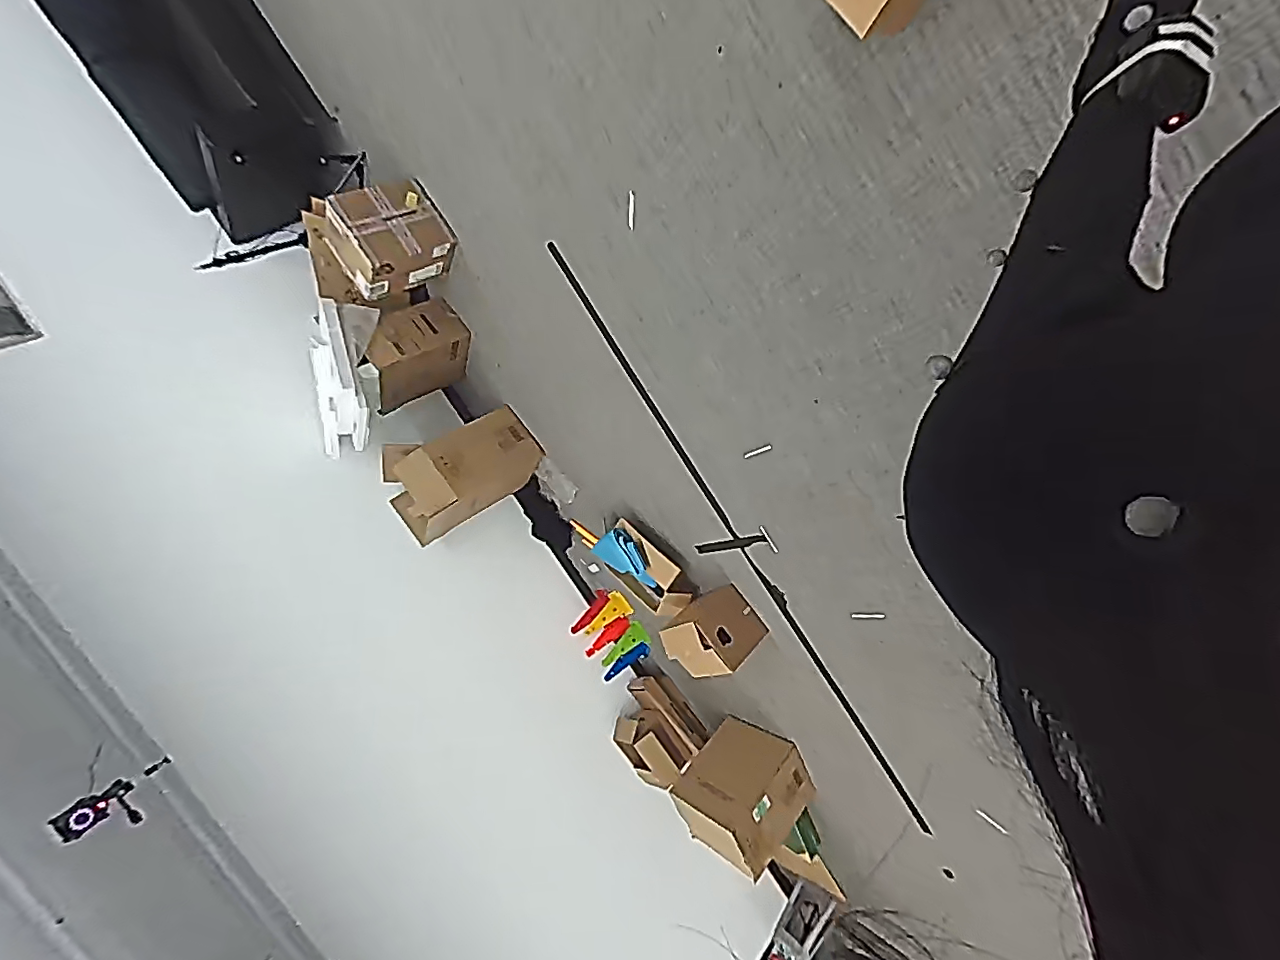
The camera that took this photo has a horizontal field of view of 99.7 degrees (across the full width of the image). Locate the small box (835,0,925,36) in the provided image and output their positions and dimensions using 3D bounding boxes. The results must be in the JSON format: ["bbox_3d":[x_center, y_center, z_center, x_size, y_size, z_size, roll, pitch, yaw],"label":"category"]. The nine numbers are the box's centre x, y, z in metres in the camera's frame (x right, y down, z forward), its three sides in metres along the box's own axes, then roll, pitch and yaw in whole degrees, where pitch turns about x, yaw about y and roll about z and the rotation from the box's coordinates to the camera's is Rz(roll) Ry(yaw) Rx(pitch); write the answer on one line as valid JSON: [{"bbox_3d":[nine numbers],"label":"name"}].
[{"bbox_3d":[0.497,-1.029,1.063,0.168,0.176,0.179,52,150,6],"label":"small box"}]
